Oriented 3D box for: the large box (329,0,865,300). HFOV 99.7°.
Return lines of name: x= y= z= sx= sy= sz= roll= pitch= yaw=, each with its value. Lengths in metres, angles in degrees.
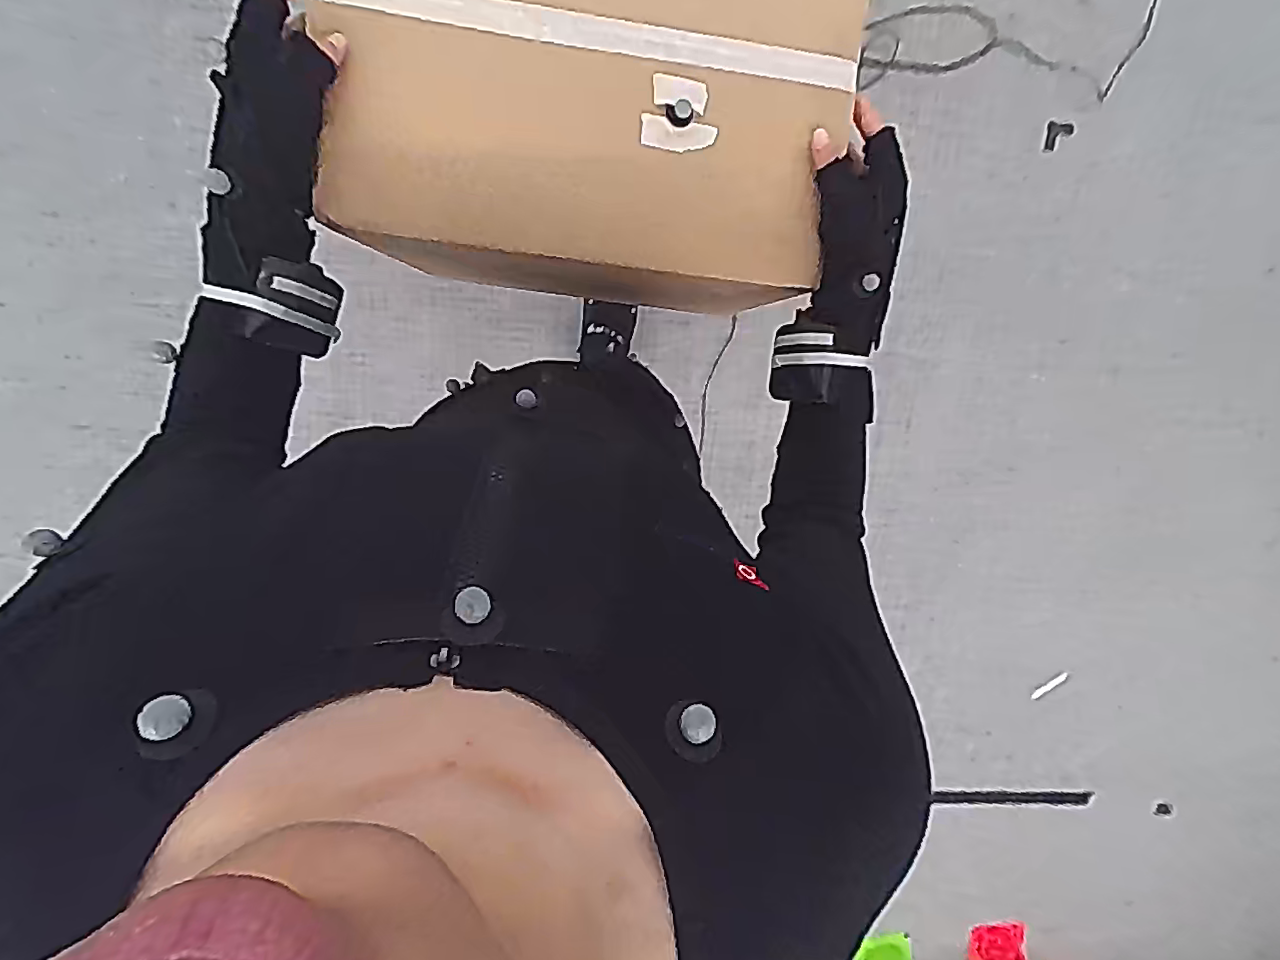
large box: x=-0.043 y=-0.376 z=0.553 sx=0.408 sy=0.320 sz=0.320 roll=4 pitch=104 yaw=-7
